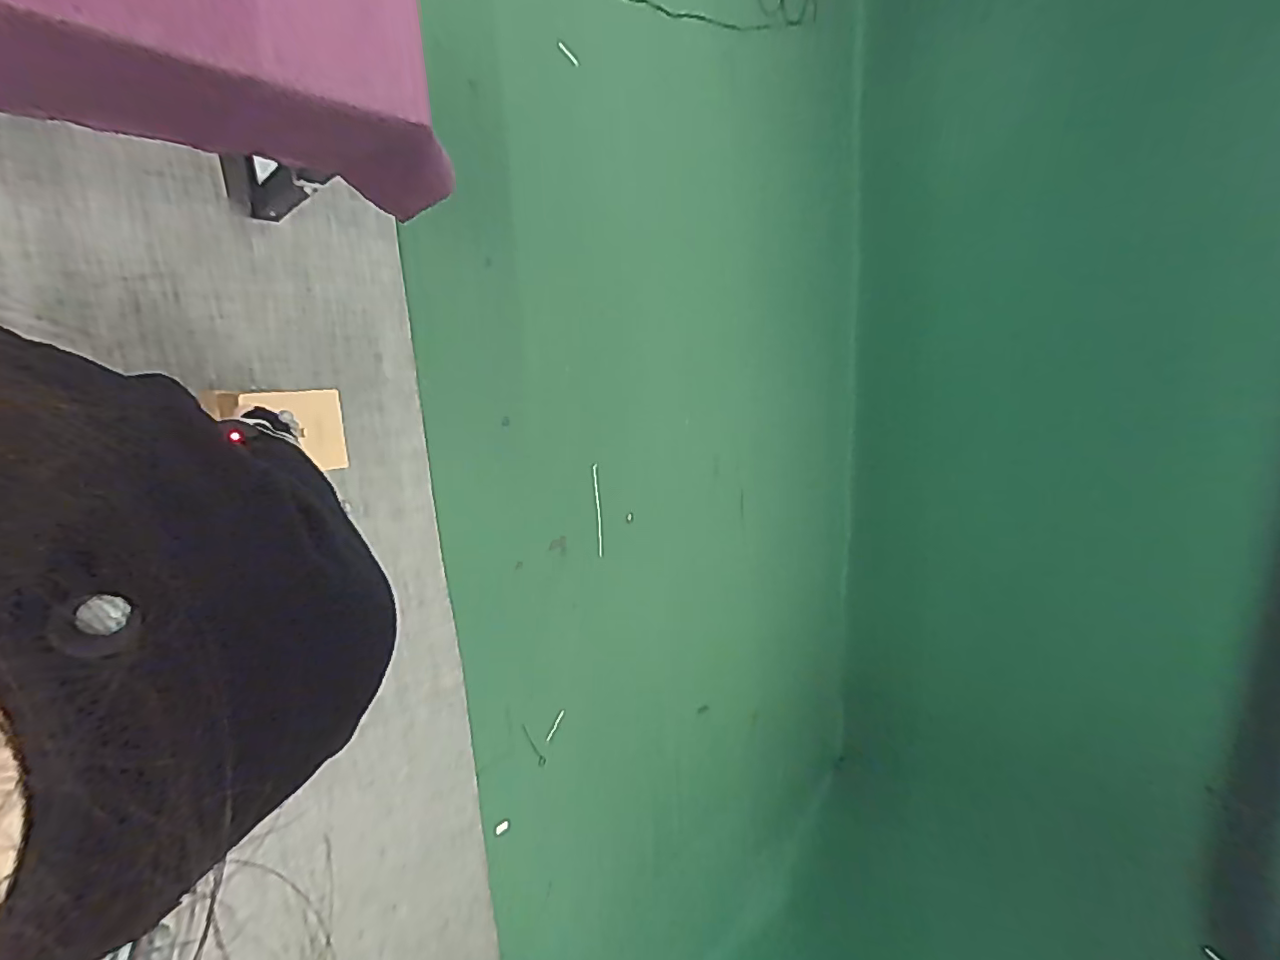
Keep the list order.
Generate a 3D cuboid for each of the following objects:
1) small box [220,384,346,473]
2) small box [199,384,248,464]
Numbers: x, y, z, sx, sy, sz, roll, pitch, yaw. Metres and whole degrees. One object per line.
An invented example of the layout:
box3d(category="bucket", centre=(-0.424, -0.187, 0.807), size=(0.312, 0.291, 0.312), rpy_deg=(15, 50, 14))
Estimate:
box3d(category="small box", centre=(-0.742, -0.112, 1.120), size=(0.179, 0.176, 0.168), rpy_deg=(-15, 108, -47))
box3d(category="small box", centre=(-0.869, -0.130, 1.221), size=(0.179, 0.176, 0.168), rpy_deg=(-11, 104, -48))
